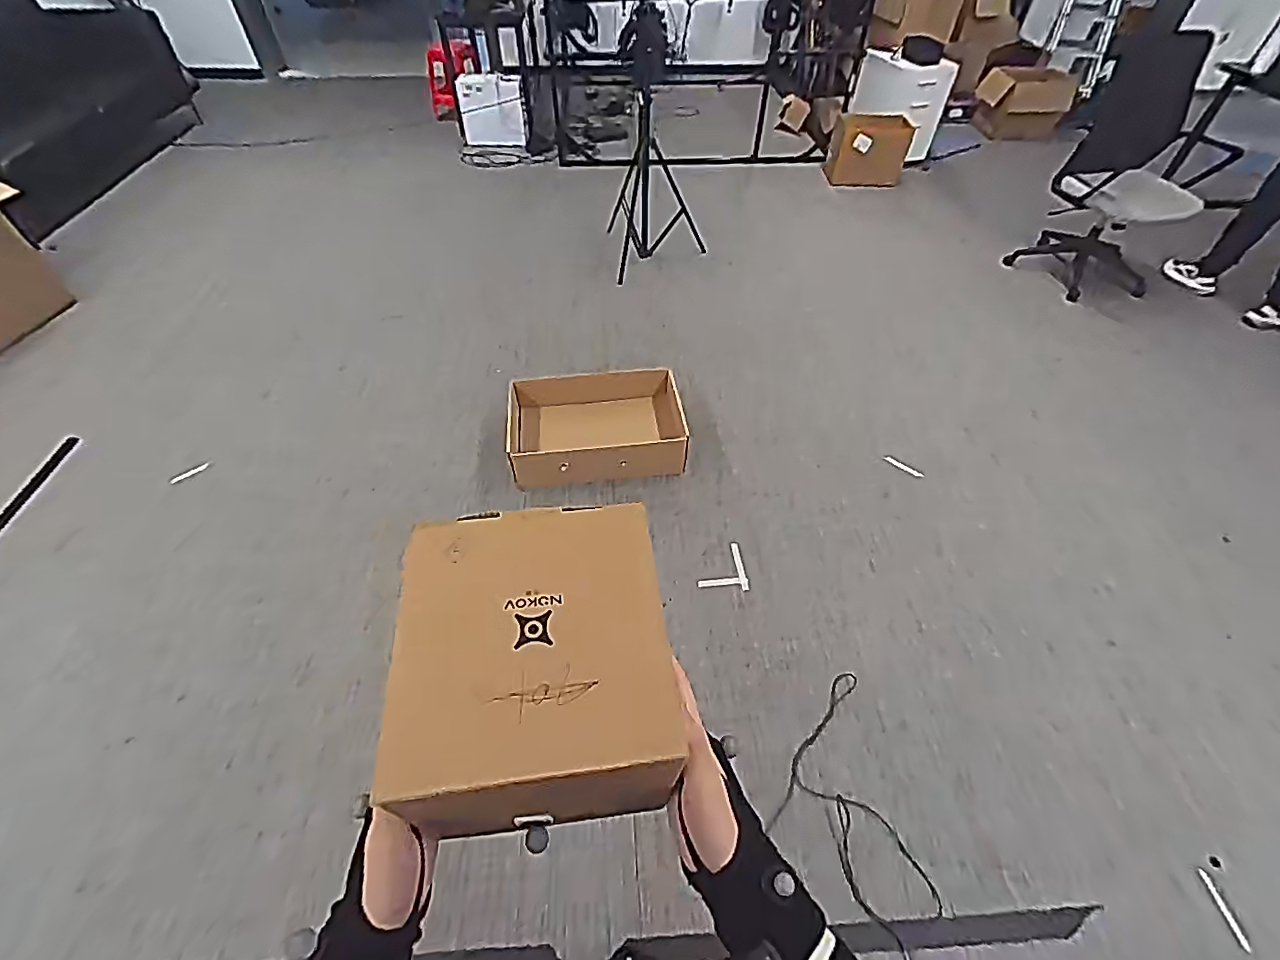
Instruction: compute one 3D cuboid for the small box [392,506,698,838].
[{"bbox_3d":[-0.064,0.143,0.402,0.168,0.176,0.179,-5,52,-7],"label":"small box"}]
